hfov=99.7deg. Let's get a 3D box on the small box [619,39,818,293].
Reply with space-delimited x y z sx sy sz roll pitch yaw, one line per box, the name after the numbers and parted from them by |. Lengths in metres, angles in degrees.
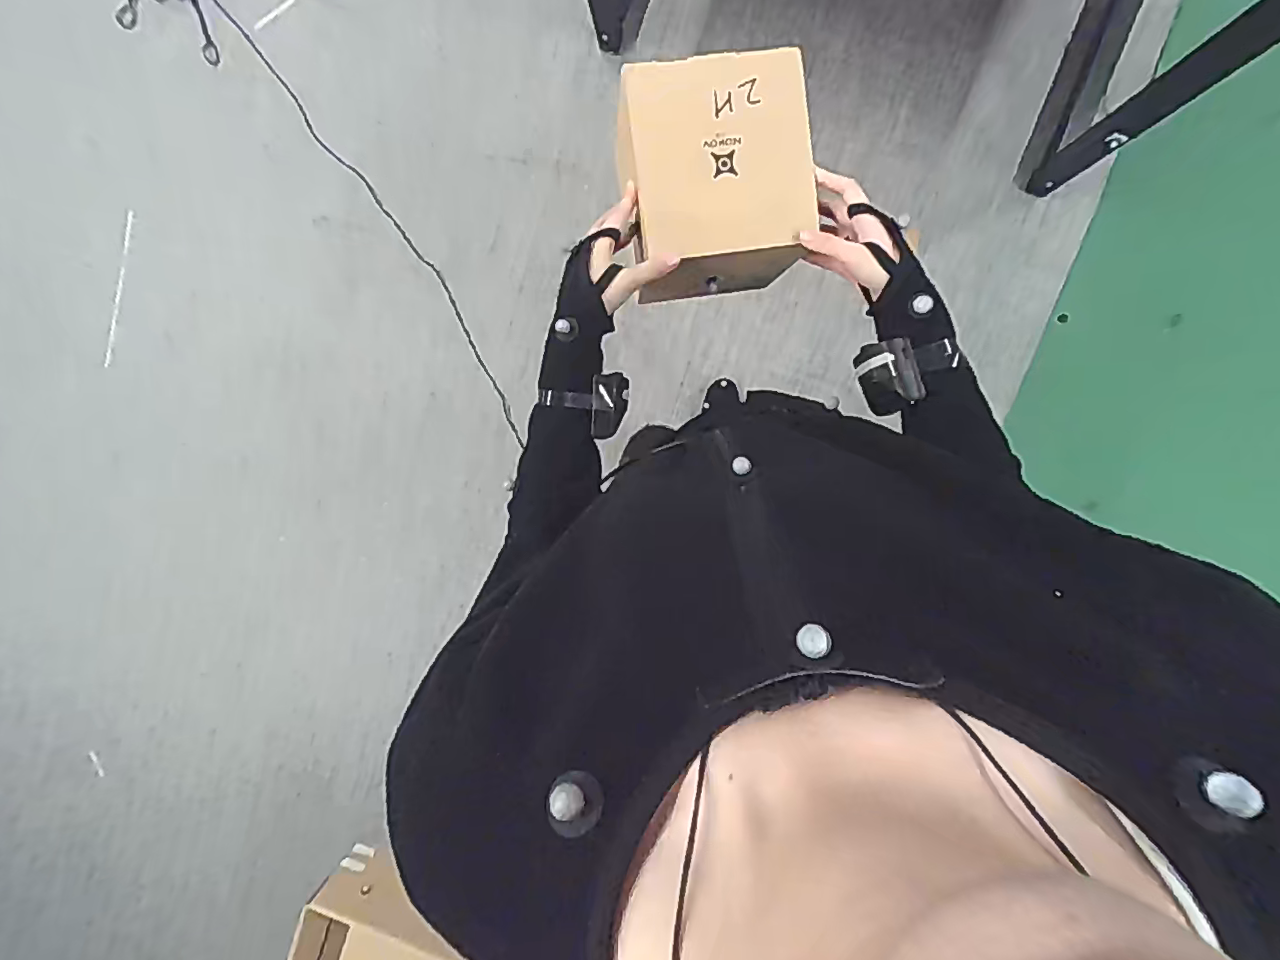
0.069 -0.305 0.565 0.168 0.176 0.179 -8 94 -4 | small box
